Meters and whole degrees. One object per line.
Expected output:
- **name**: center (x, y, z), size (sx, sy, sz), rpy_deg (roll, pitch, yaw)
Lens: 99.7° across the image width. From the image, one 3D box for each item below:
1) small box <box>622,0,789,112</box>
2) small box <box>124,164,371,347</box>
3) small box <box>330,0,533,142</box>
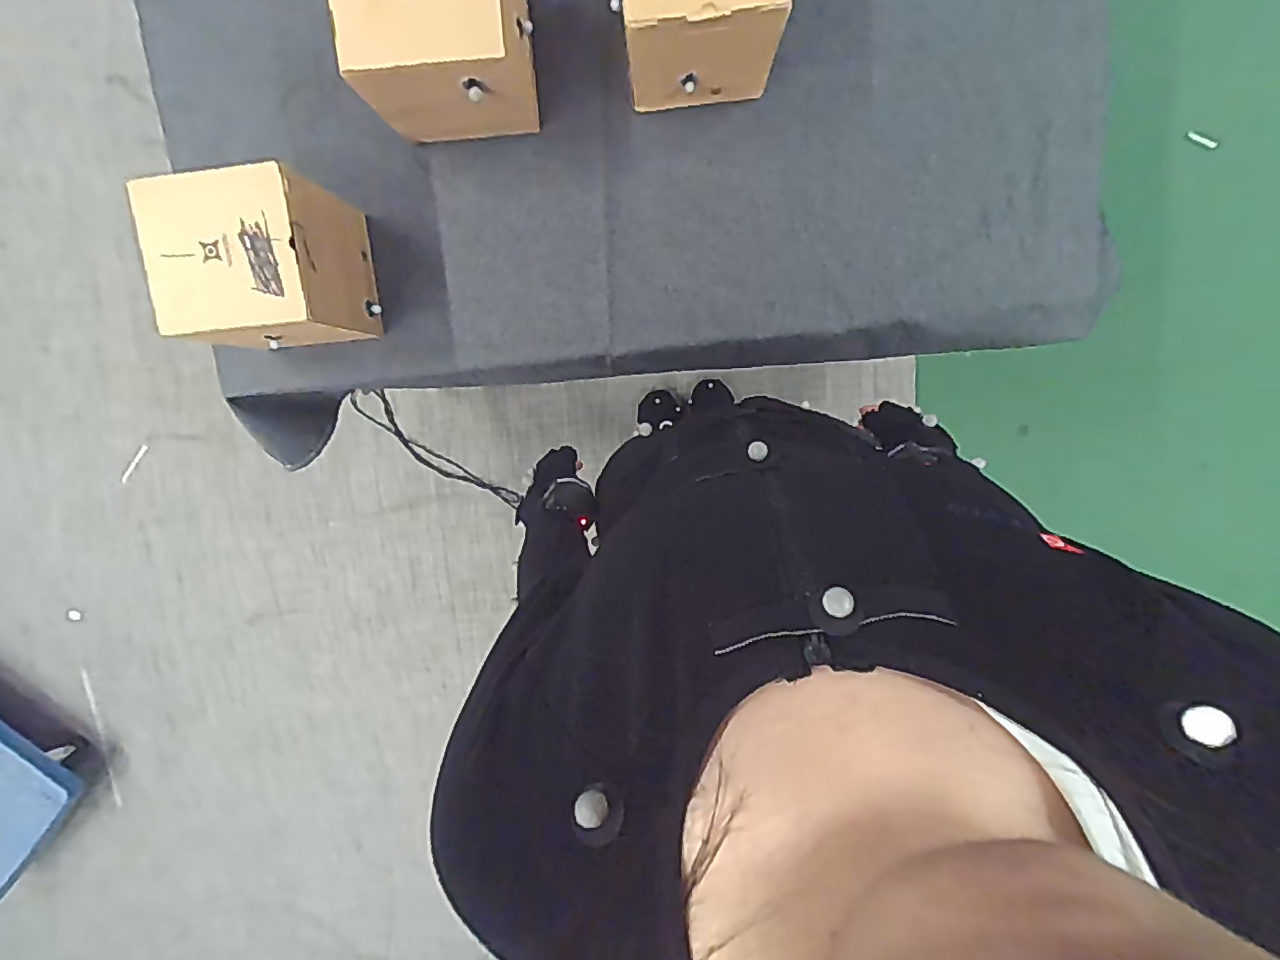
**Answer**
- **small box**: center (0.062, -0.554, 0.605), size (0.168, 0.176, 0.179), rpy_deg (-5, 99, 2)
- **small box**: center (-0.455, -0.260, 0.663), size (0.179, 0.176, 0.168), rpy_deg (-5, 98, 3)
- **small box**: center (-0.225, -0.513, 0.616), size (0.179, 0.176, 0.168), rpy_deg (-3, 100, 2)
